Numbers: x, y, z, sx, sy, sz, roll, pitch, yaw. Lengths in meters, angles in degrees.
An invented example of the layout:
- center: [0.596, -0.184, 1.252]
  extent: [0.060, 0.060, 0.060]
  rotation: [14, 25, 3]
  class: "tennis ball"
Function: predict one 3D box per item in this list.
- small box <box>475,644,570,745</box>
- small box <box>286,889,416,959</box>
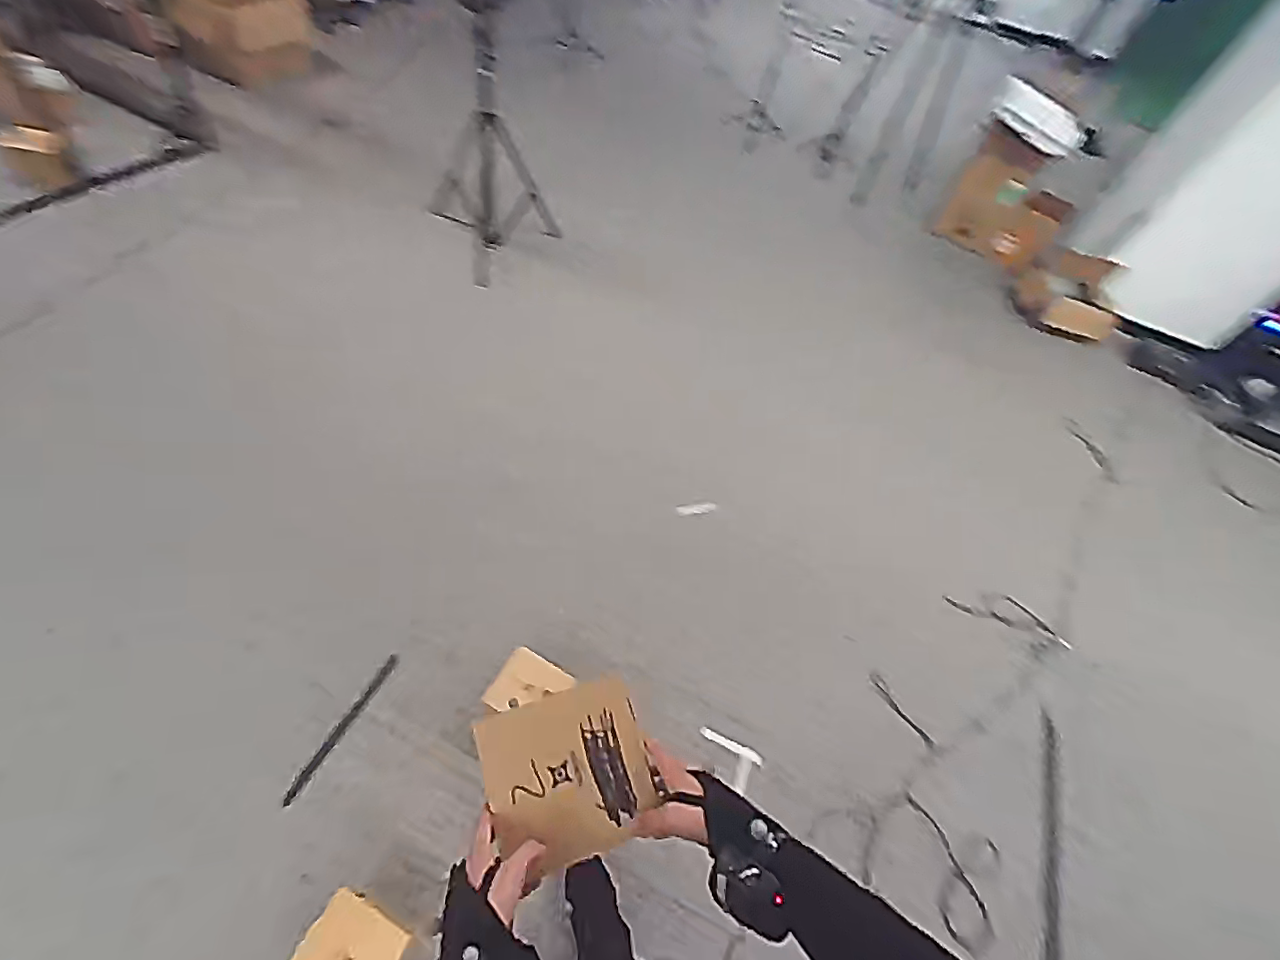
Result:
- center: [-0.303, 0.565, 1.407]
  extent: [0.179, 0.176, 0.168]
  rotation: [29, 53, 9]
  class: "small box"
- center: [-0.574, 0.942, 1.070]
  extent: [0.179, 0.176, 0.168]
  rotation: [27, 54, 8]
  class: "small box"
